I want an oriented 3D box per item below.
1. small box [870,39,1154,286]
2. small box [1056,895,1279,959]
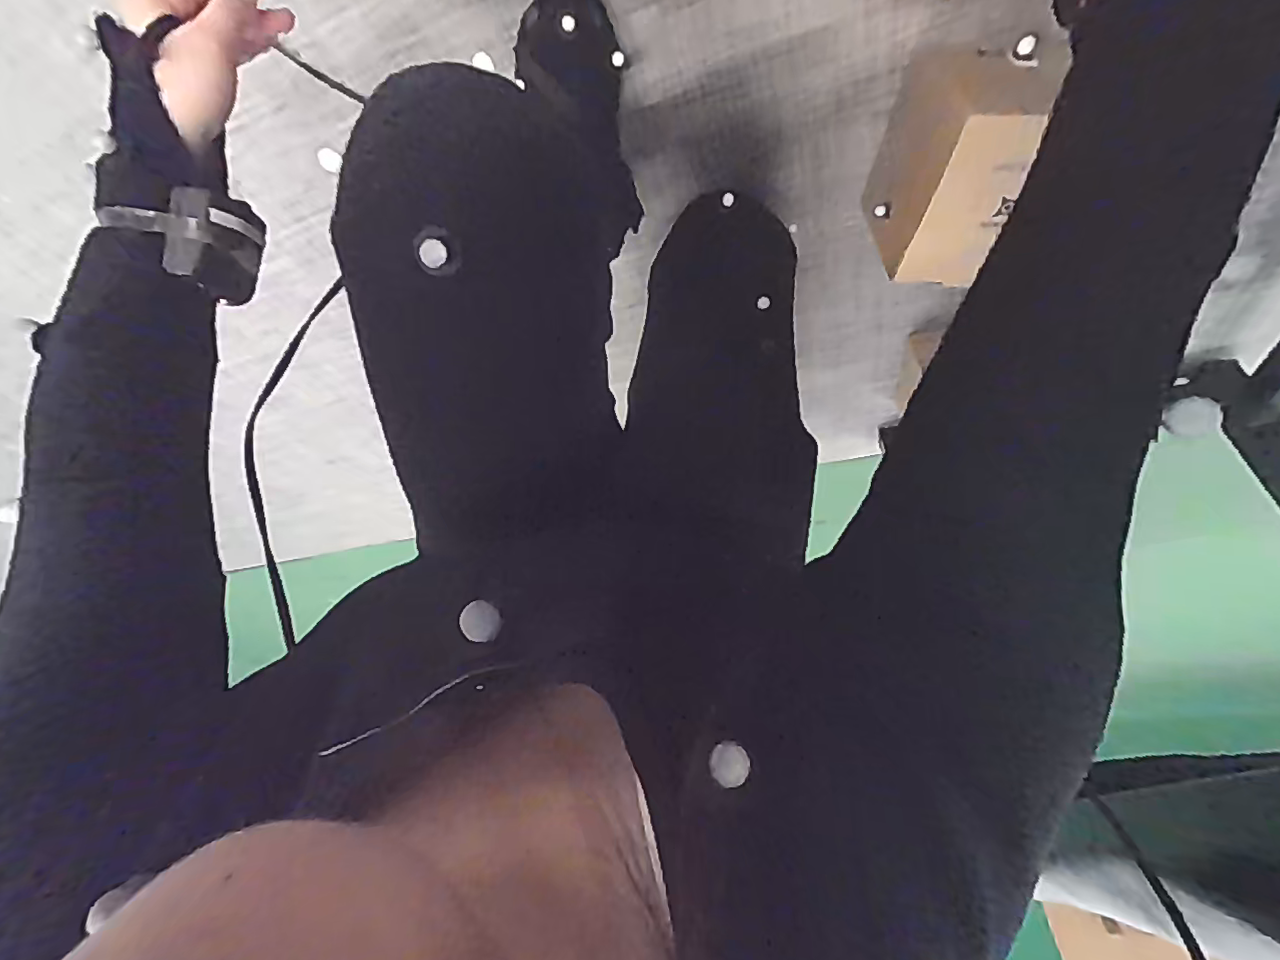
[{"bbox_3d":[0.367,-0.335,0.582,0.168,0.176,0.179,0,146,-1],"label":"small box"},{"bbox_3d":[0.526,0.476,0.476,0.179,0.176,0.168,16,141,-22],"label":"small box"}]
